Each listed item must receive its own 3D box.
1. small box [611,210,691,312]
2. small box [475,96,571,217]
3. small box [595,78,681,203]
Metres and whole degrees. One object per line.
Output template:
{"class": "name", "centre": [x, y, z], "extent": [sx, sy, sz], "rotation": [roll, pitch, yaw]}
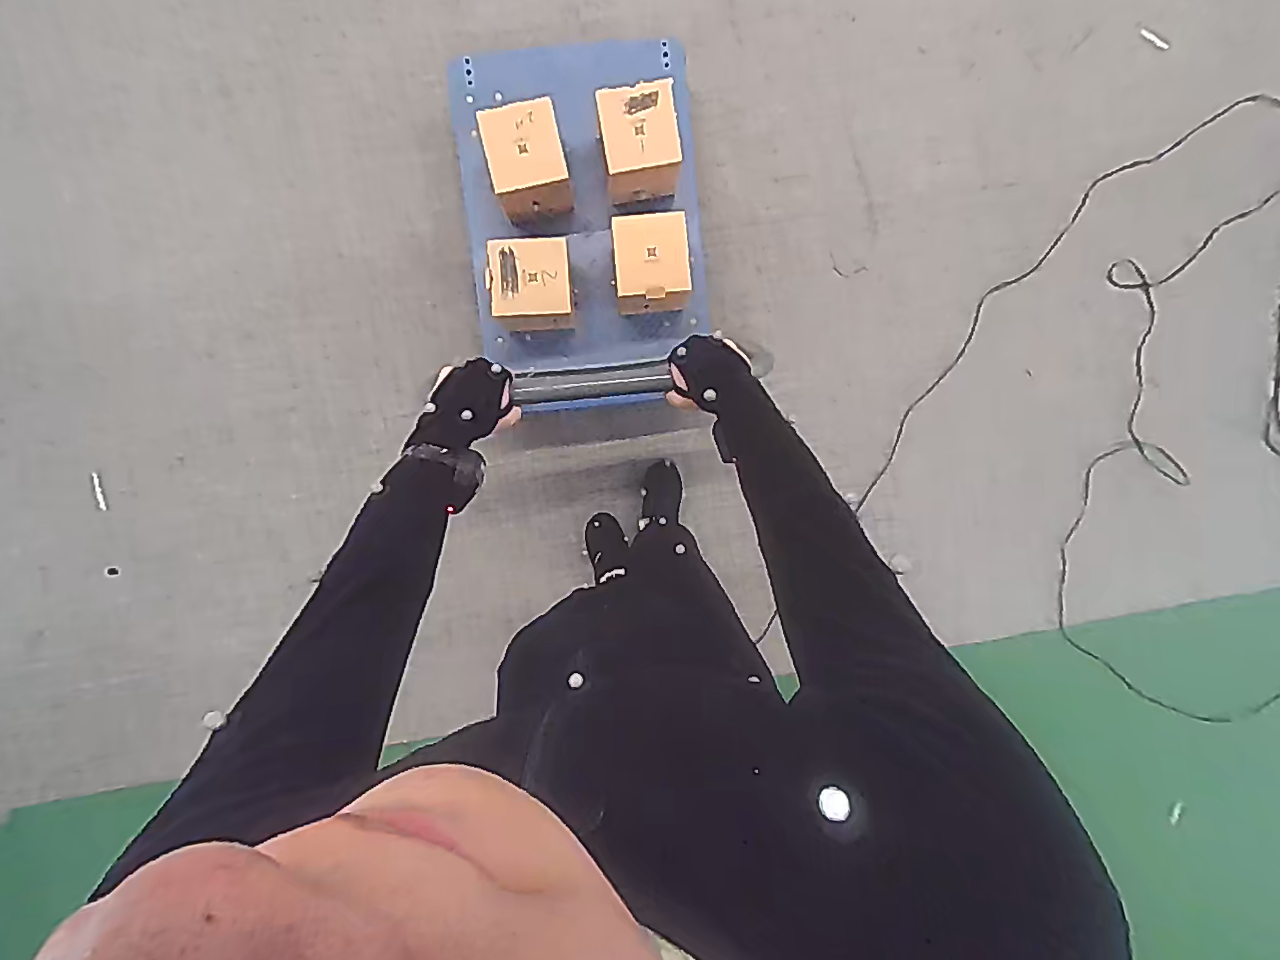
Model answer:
{"class": "small box", "centre": [0.020, -0.508, 1.273], "extent": [0.168, 0.176, 0.179], "rotation": [-6, 96, -2]}
{"class": "small box", "centre": [-0.260, -0.727, 1.241], "extent": [0.168, 0.176, 0.179], "rotation": [-13, 95, -2]}
{"class": "small box", "centre": [-0.009, -0.774, 1.248], "extent": [0.168, 0.176, 0.179], "rotation": [-10, 96, -1]}
